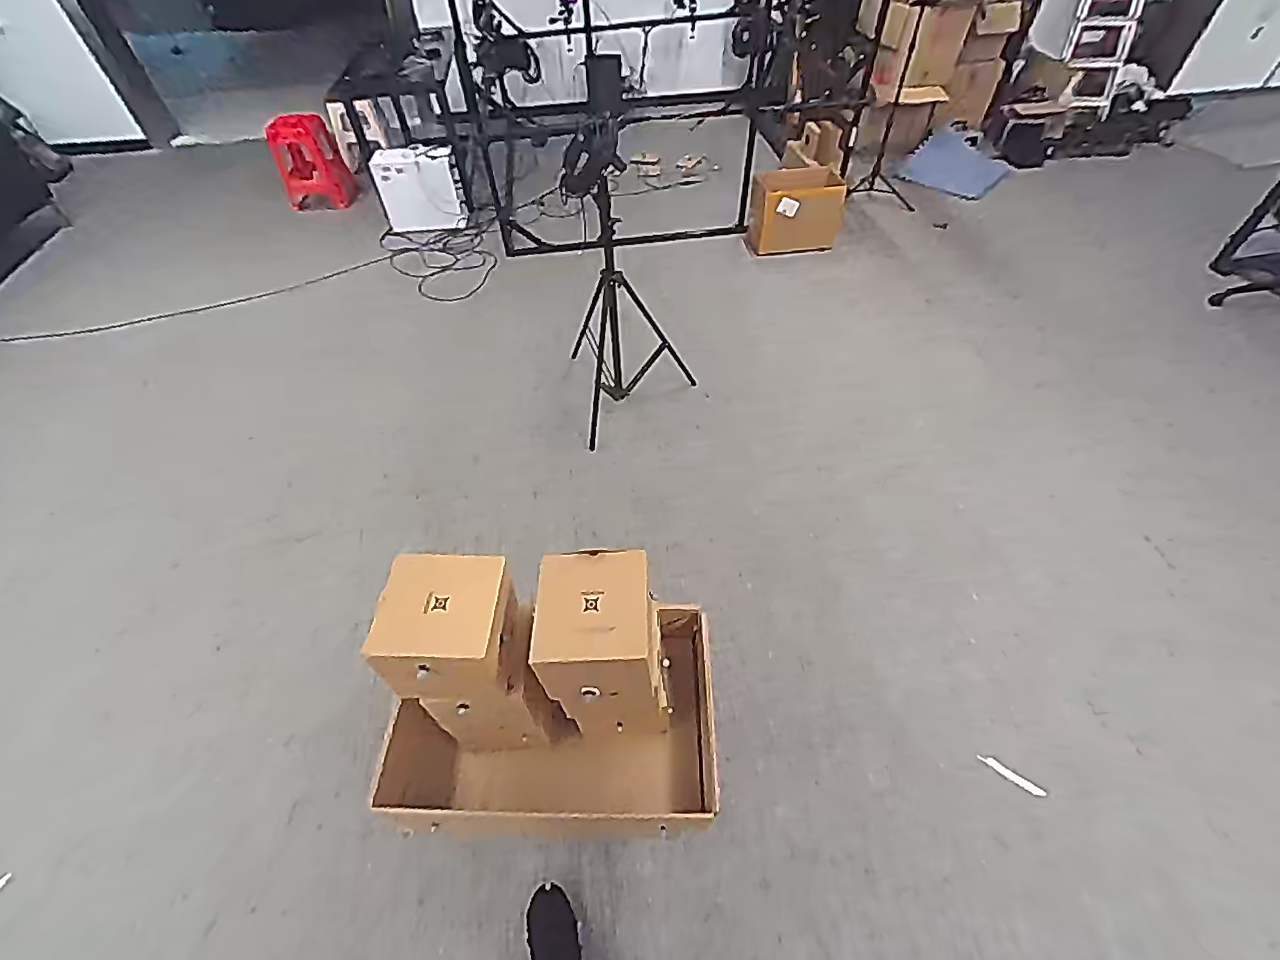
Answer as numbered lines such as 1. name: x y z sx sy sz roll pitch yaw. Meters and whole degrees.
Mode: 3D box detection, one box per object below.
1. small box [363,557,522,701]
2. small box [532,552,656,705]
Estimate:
1. small box: -0.291 0.237 0.849 0.179 0.176 0.168 1 49 0
2. small box: -0.061 0.232 0.842 0.168 0.176 0.179 -3 49 2
